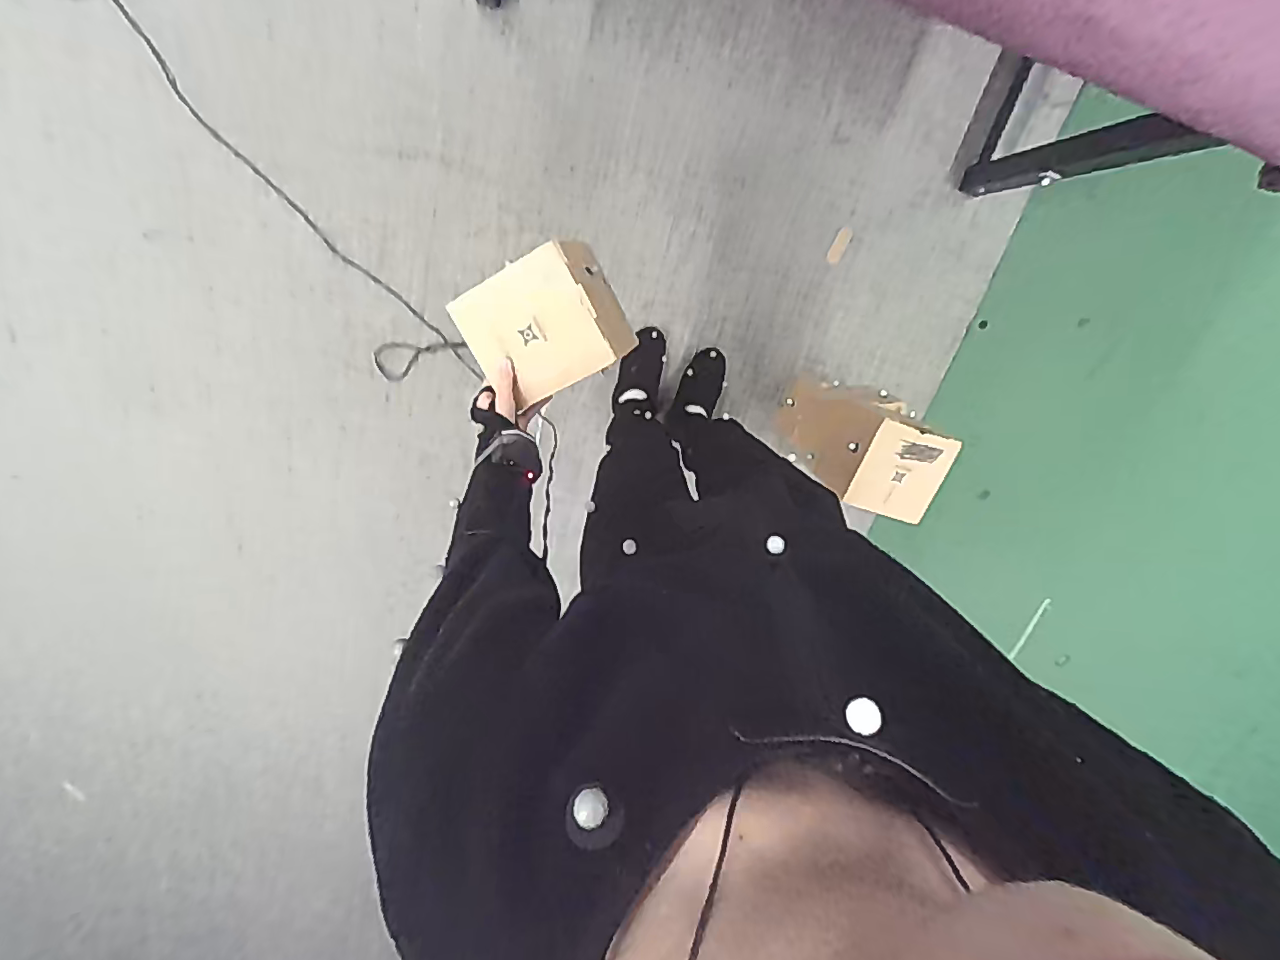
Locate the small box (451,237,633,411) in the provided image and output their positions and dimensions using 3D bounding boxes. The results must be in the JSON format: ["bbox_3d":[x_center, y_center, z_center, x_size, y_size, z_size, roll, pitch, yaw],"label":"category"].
[{"bbox_3d":[-0.121,-0.222,0.763,0.179,0.176,0.168,-22,106,18],"label":"small box"}]

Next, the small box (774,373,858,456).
[{"bbox_3d":[0.465,-0.159,1.372,0.179,0.176,0.168,25,109,-10],"label":"small box"}]

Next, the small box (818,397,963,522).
[{"bbox_3d":[0.477,-0.047,1.063,0.168,0.176,0.179,16,111,-9],"label":"small box"}]
